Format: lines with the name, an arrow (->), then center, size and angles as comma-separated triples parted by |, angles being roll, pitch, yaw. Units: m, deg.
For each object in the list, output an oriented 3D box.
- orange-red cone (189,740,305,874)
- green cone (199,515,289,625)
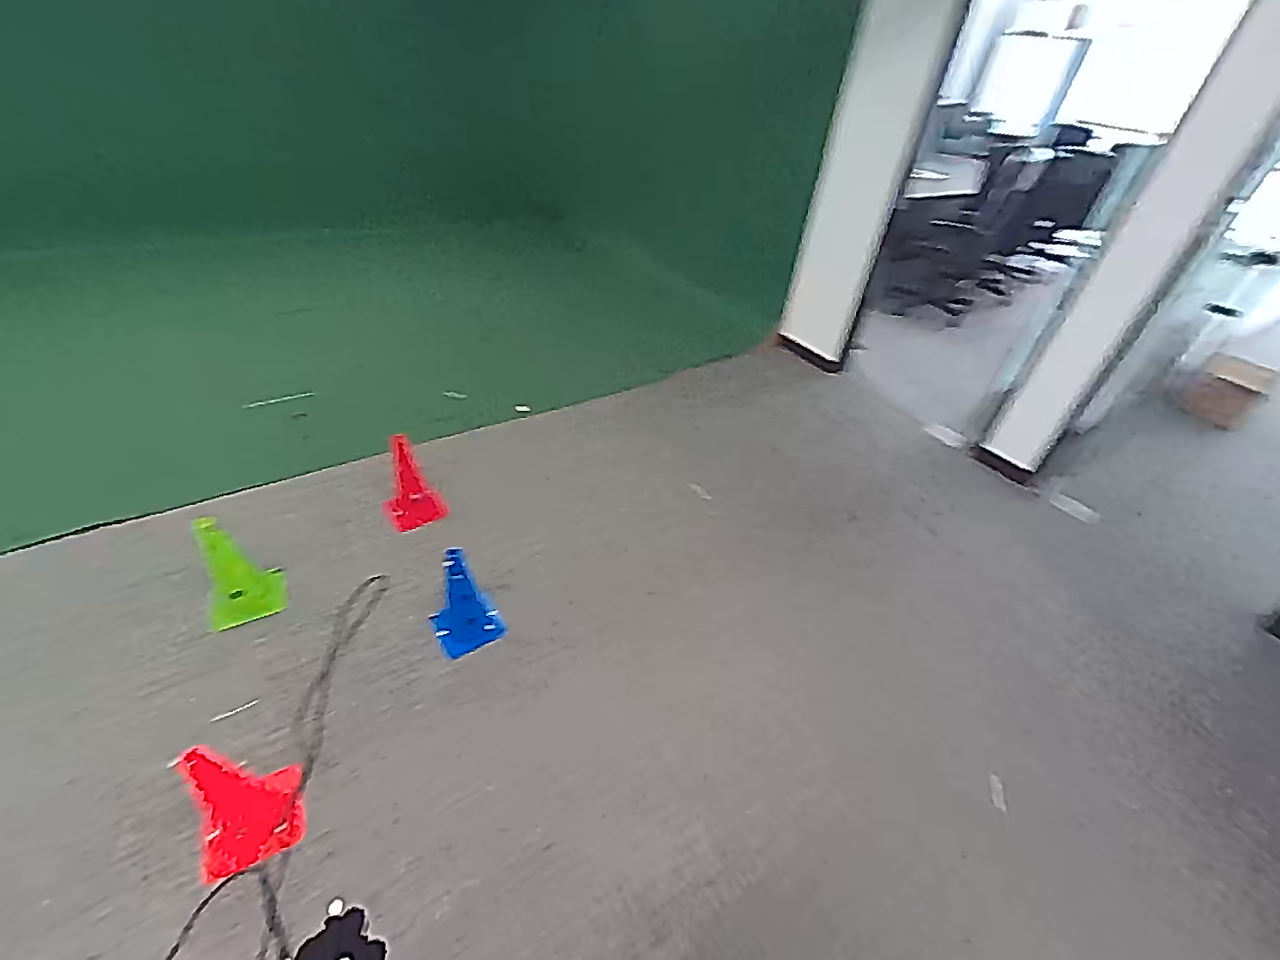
orange-red cone -> -0.912, 0.681, 1.205 | 0.198, 0.360, 0.199 | -15, 43, -25
green cone -> -1.269, 0.246, 1.673 | 0.200, 0.368, 0.202 | -18, 46, -25
